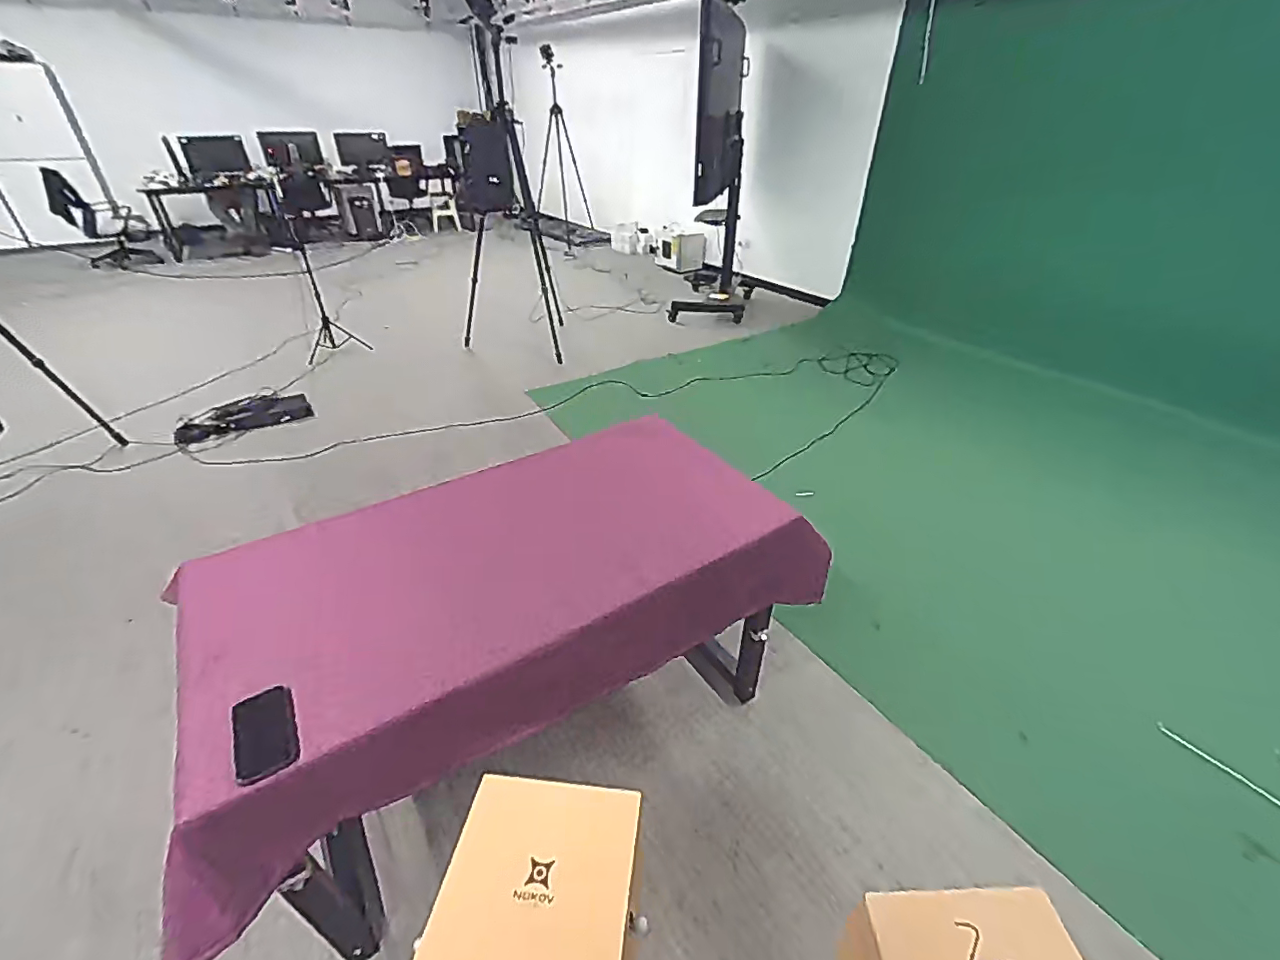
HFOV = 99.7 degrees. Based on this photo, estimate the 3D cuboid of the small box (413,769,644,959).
[{"bbox_3d":[-0.089,0.416,0.517,0.168,0.176,0.179,4,31,6],"label":"small box"}]
